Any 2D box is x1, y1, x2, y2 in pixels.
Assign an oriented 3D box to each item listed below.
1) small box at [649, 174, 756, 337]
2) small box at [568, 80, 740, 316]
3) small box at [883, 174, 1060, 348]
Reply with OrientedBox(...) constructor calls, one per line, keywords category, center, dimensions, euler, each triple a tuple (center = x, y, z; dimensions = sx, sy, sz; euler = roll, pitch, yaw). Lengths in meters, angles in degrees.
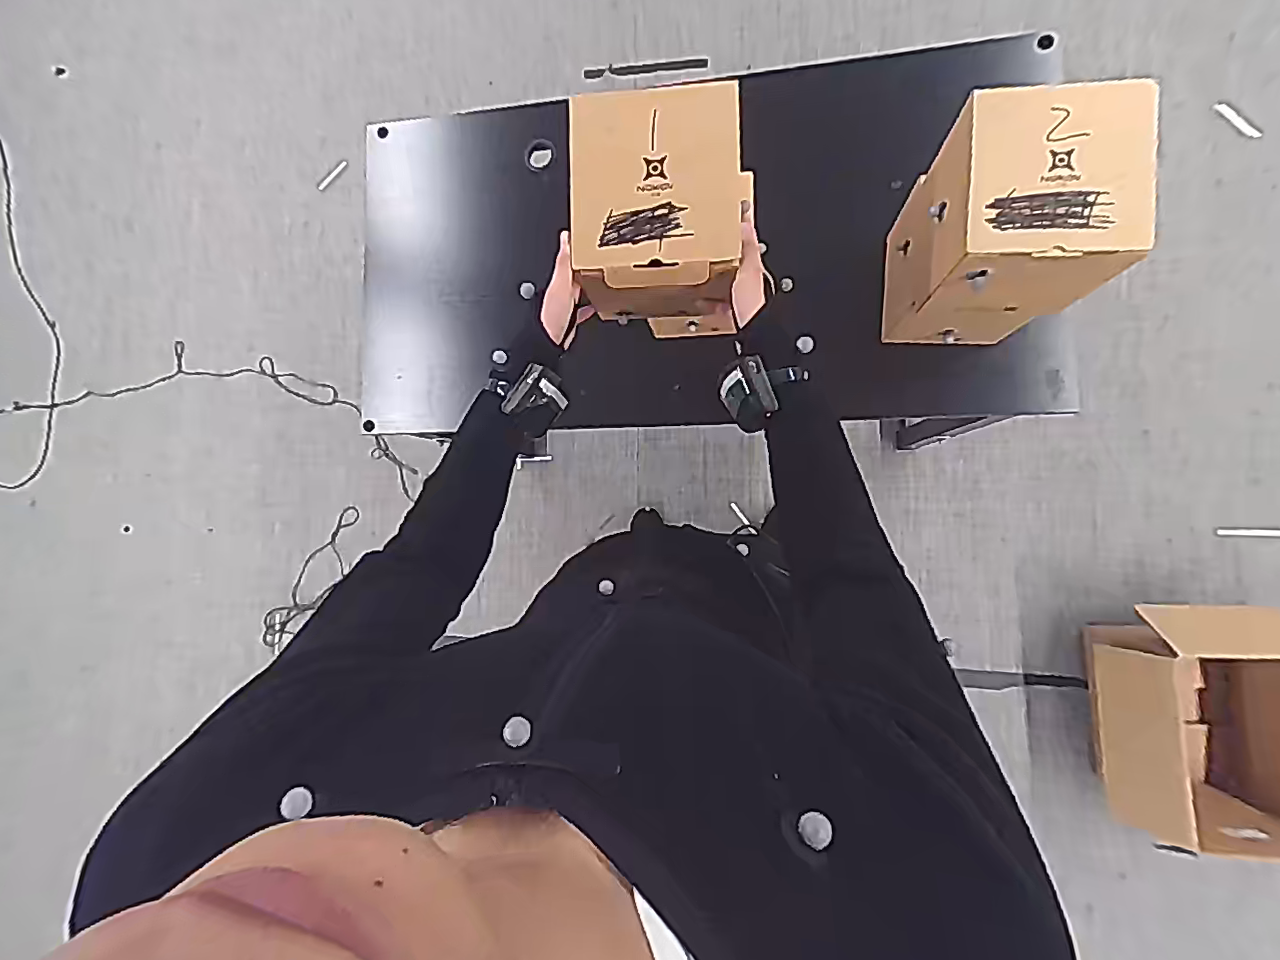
OrientedBox(category="small box", center=(0.092, -0.335, 0.836), dimensions=(0.168, 0.176, 0.179), euler=(-1, 87, 10))
OrientedBox(category="small box", center=(0.021, -0.286, 0.591), dimensions=(0.168, 0.176, 0.179), euler=(-1, 90, 6))
OrientedBox(category="small box", center=(0.456, -0.301, 0.768), dimensions=(0.168, 0.176, 0.179), euler=(4, 88, 11))
